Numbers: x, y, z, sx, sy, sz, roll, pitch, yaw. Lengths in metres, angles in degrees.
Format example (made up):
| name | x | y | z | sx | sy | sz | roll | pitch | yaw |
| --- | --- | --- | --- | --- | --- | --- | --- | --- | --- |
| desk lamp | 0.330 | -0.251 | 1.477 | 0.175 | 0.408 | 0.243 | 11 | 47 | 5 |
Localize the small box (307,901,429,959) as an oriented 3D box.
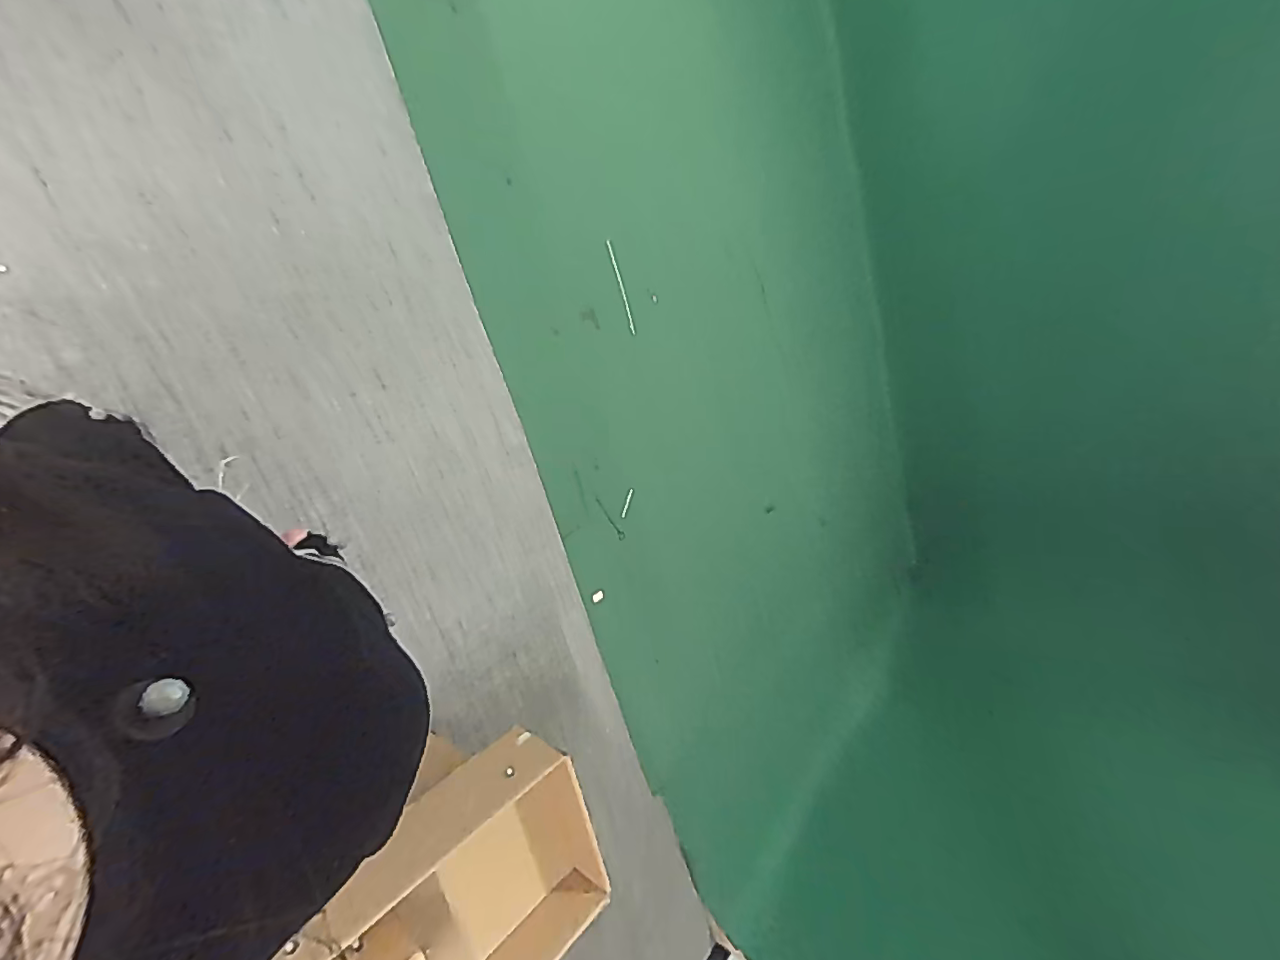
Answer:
| name | x | y | z | sx | sy | sz | roll | pitch | yaw |
| --- | --- | --- | --- | --- | --- | --- | --- | --- | --- |
| small box | -0.450 | 0.882 | 0.918 | 0.168 | 0.176 | 0.179 | -24 | 105 | -42 |
